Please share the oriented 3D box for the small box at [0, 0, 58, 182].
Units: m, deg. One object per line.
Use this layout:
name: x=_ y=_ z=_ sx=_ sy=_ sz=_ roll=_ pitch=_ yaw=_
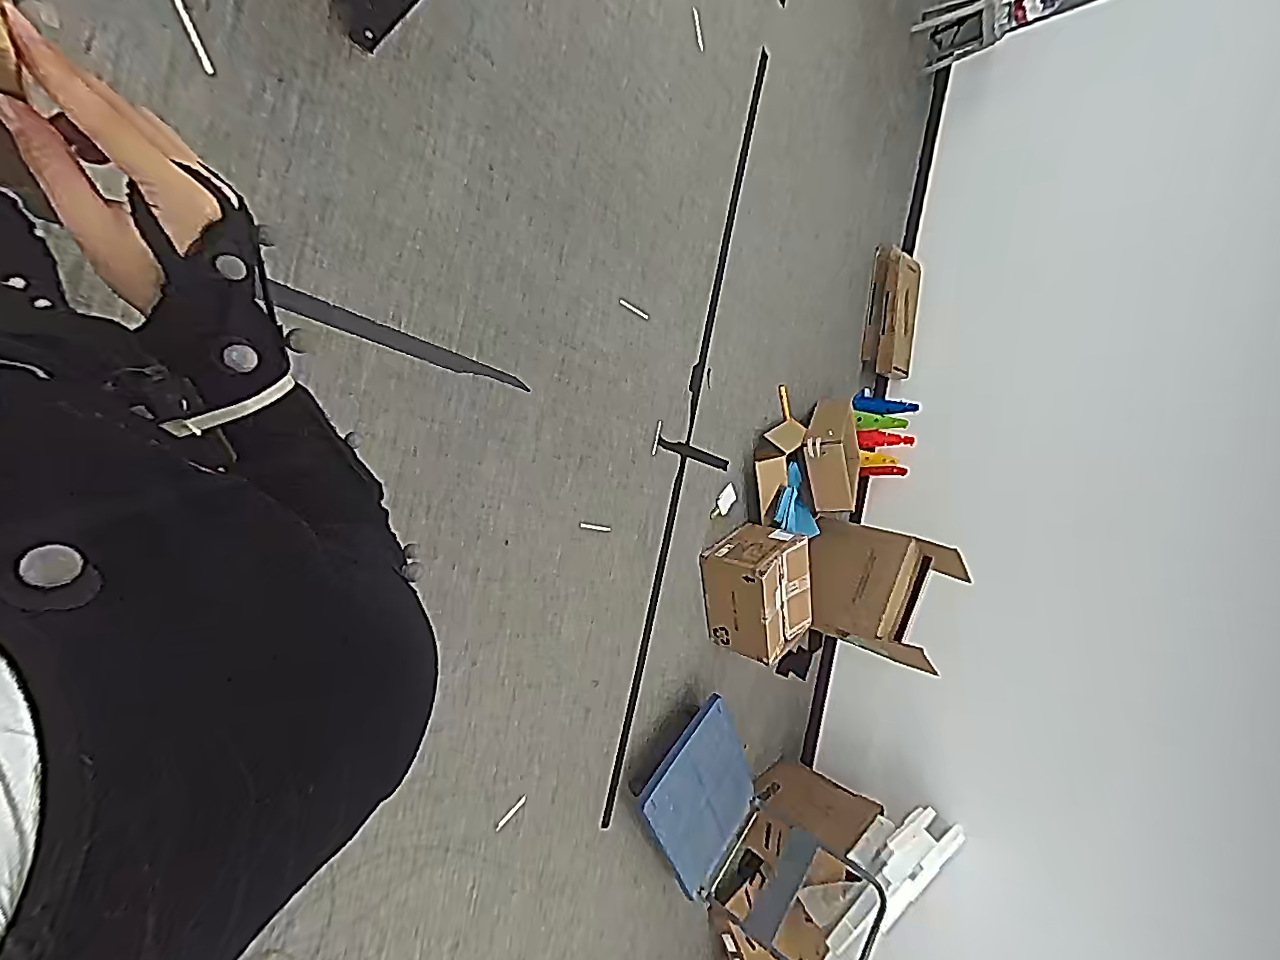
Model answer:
small box: x=-0.367 y=-0.236 z=0.200 sx=0.179 sy=0.176 sz=0.168 roll=-14 pitch=102 yaw=-42
